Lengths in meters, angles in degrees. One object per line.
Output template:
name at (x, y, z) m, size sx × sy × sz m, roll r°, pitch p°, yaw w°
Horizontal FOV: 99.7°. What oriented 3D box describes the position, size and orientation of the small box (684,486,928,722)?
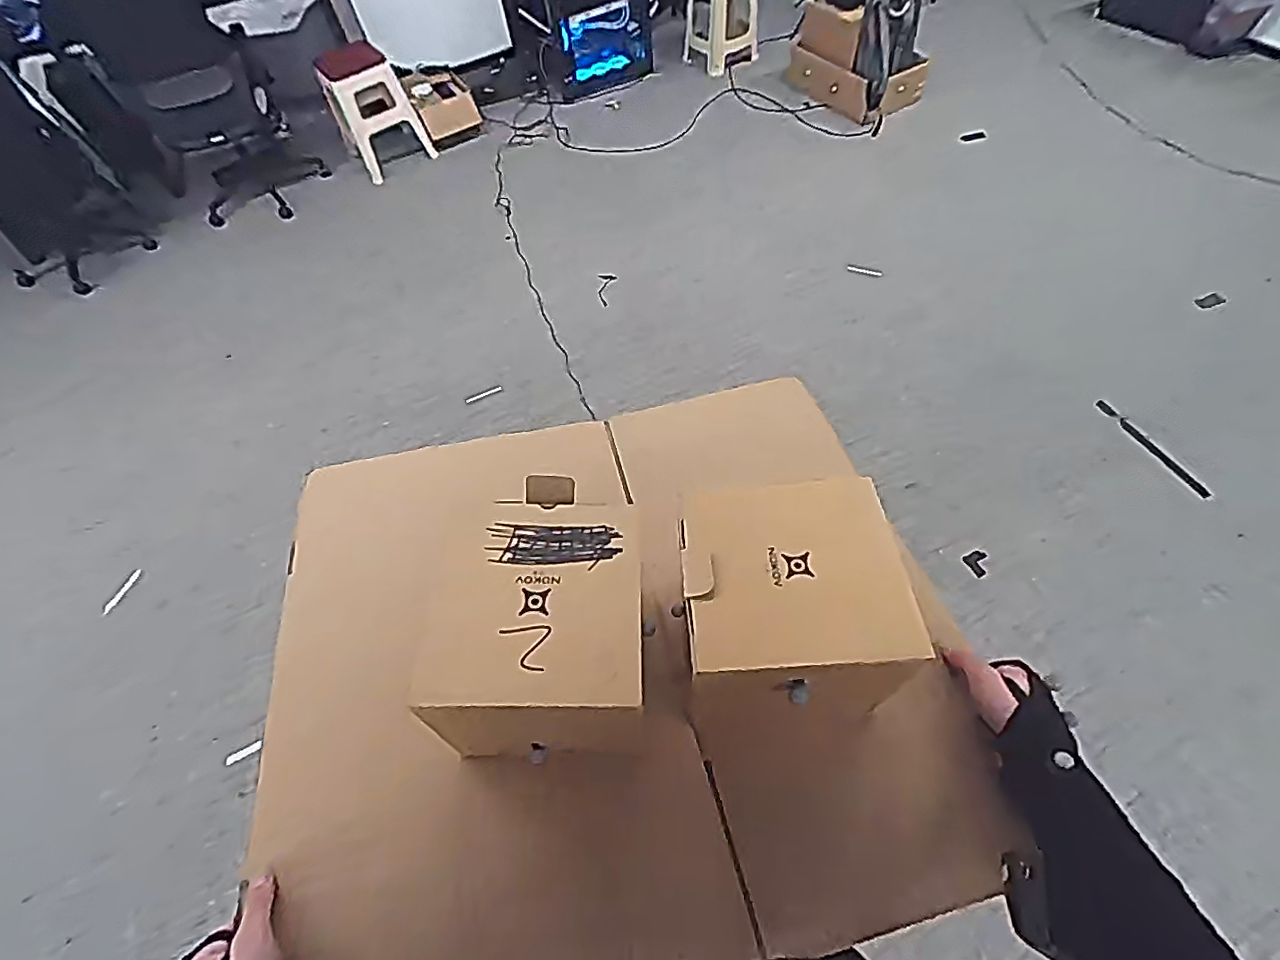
small box at (0.134, 0.124, 0.517) m, size 0.179 × 0.176 × 0.168 m, roll -5°, pitch 54°, yaw 3°
